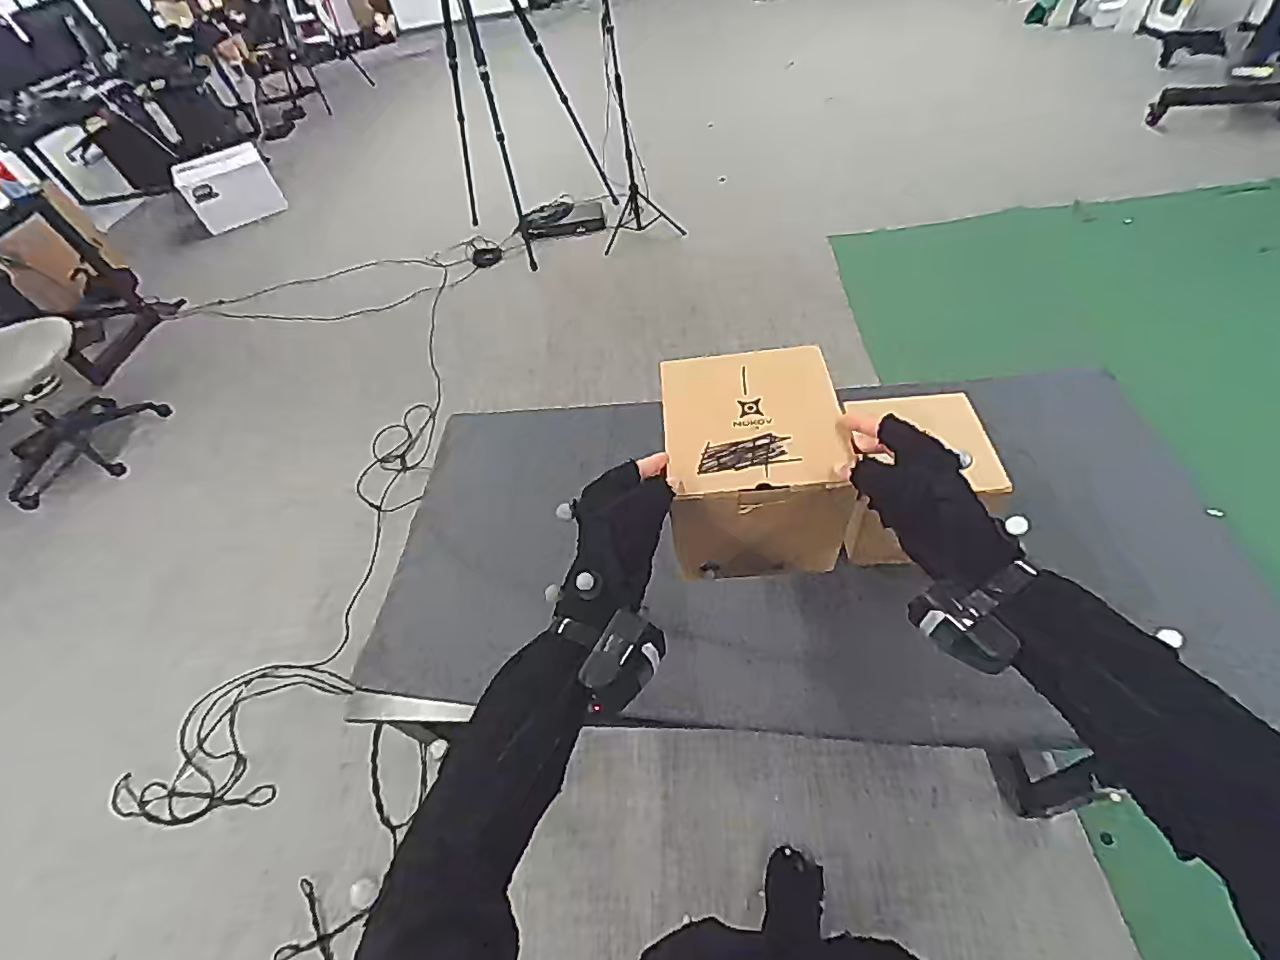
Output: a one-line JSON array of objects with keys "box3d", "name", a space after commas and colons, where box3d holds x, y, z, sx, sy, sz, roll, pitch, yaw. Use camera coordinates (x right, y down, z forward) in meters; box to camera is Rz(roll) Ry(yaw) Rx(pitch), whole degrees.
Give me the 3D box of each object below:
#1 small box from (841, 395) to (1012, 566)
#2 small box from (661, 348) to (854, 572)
[{"box3d": [0.381, 0.004, 0.770, 0.168, 0.176, 0.179, -4, 51, 9], "name": "small box"}, {"box3d": [0.115, -0.012, 0.578, 0.168, 0.176, 0.179, -5, 52, 6], "name": "small box"}]
